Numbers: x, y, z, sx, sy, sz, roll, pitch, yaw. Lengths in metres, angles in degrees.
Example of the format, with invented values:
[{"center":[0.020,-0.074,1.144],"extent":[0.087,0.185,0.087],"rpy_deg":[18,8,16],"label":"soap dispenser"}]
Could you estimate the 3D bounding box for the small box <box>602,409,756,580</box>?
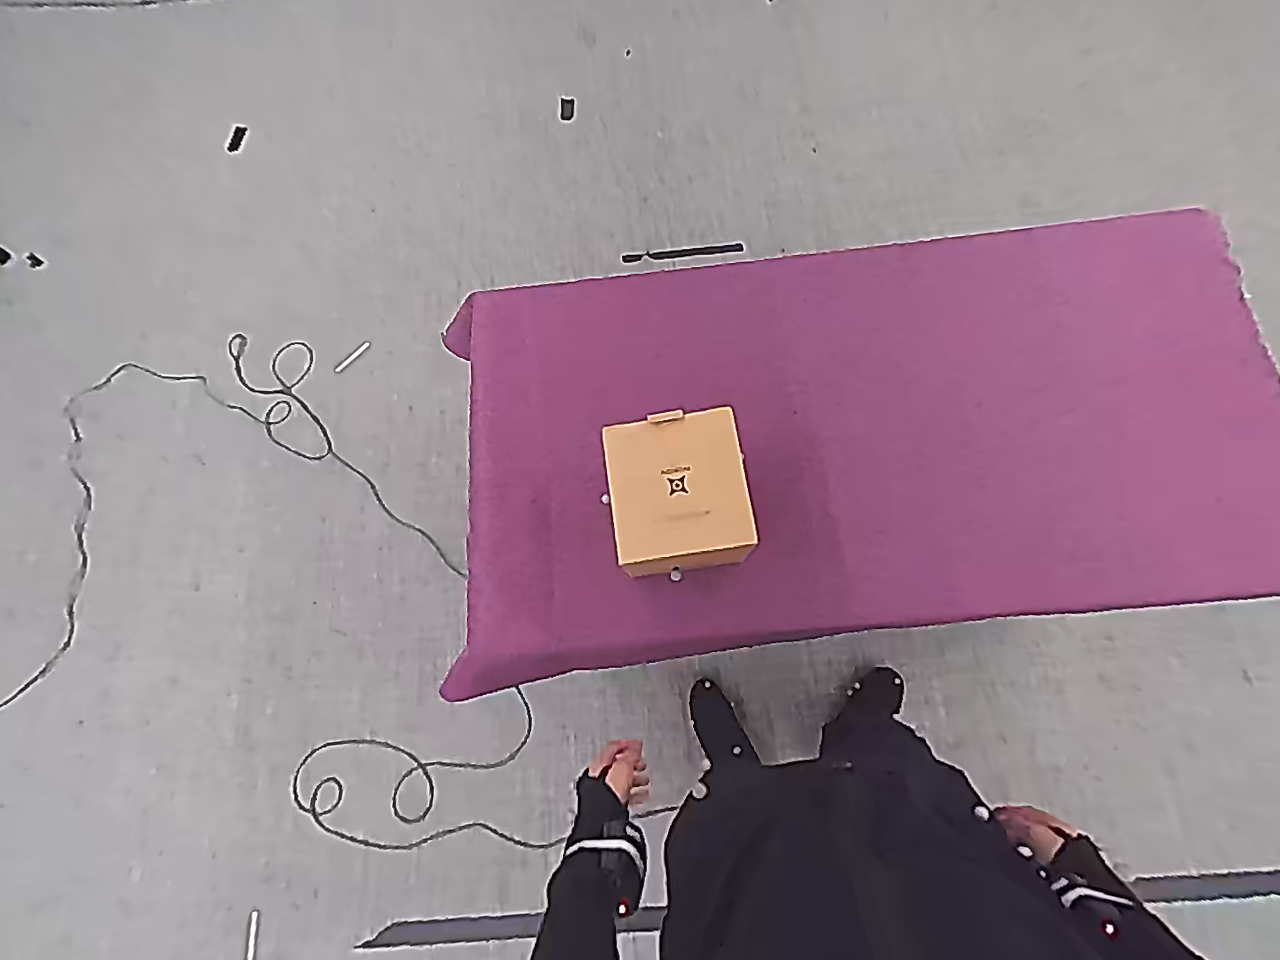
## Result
[{"center":[0.048,0.027,0.717],"extent":[0.168,0.176,0.179],"rpy_deg":[-9,73,3],"label":"small box"}]
